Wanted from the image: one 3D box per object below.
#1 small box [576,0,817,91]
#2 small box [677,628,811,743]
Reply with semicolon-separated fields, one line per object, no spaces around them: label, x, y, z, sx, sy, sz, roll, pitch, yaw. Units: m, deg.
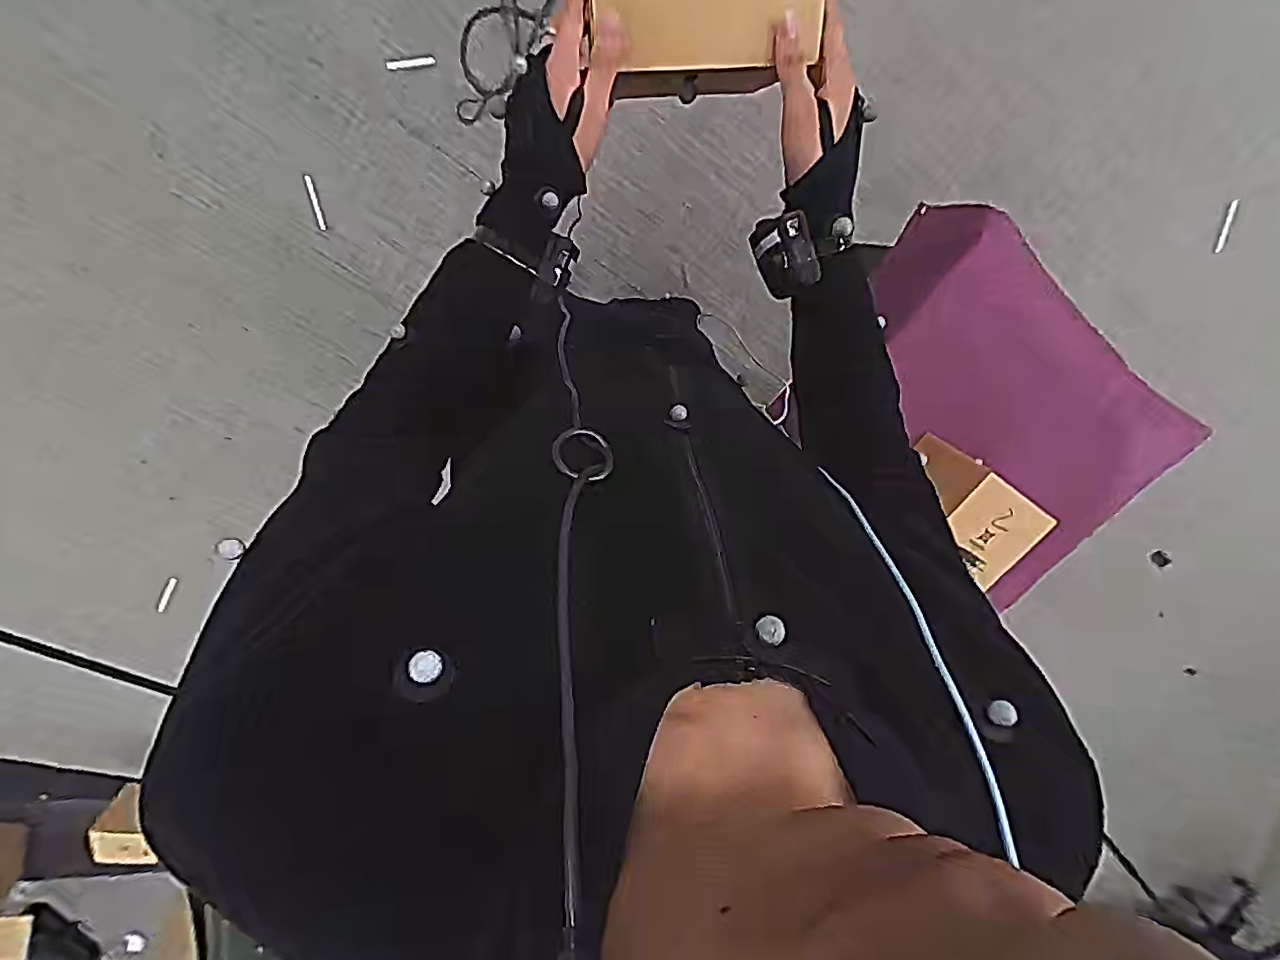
small box;0.035;-0.426;0.438;0.179;0.176;0.168;-5;121;-3
small box;0.192;0.421;1.062;0.179;0.176;0.168;31;109;-19
